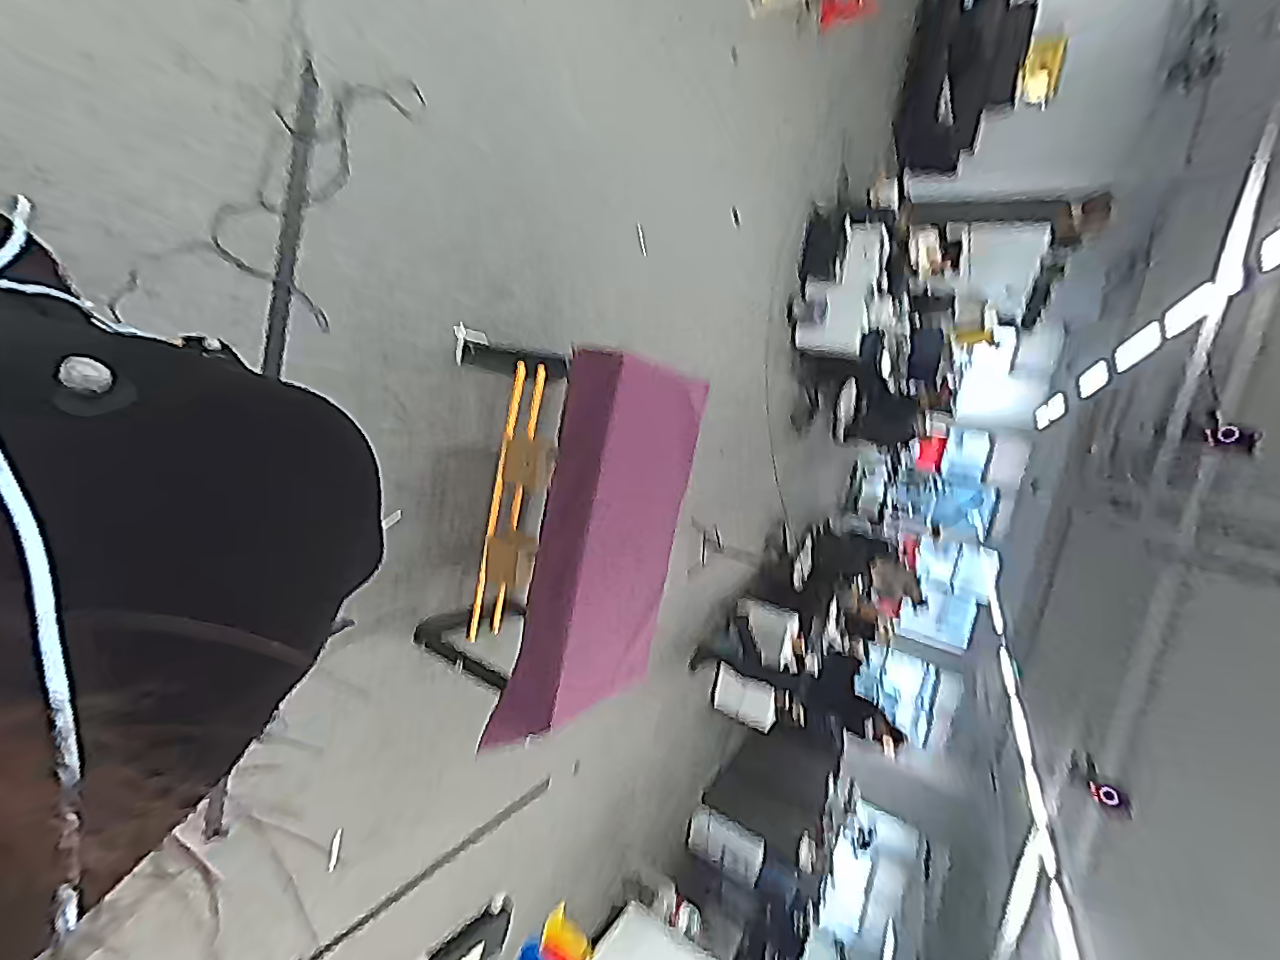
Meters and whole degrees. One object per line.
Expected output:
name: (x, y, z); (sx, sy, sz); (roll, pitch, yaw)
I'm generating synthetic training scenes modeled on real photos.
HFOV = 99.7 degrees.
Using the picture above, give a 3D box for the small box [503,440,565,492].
small box: (-0.426, -0.061, 2.162); (0.168, 0.176, 0.179); (-4, 109, -59)
